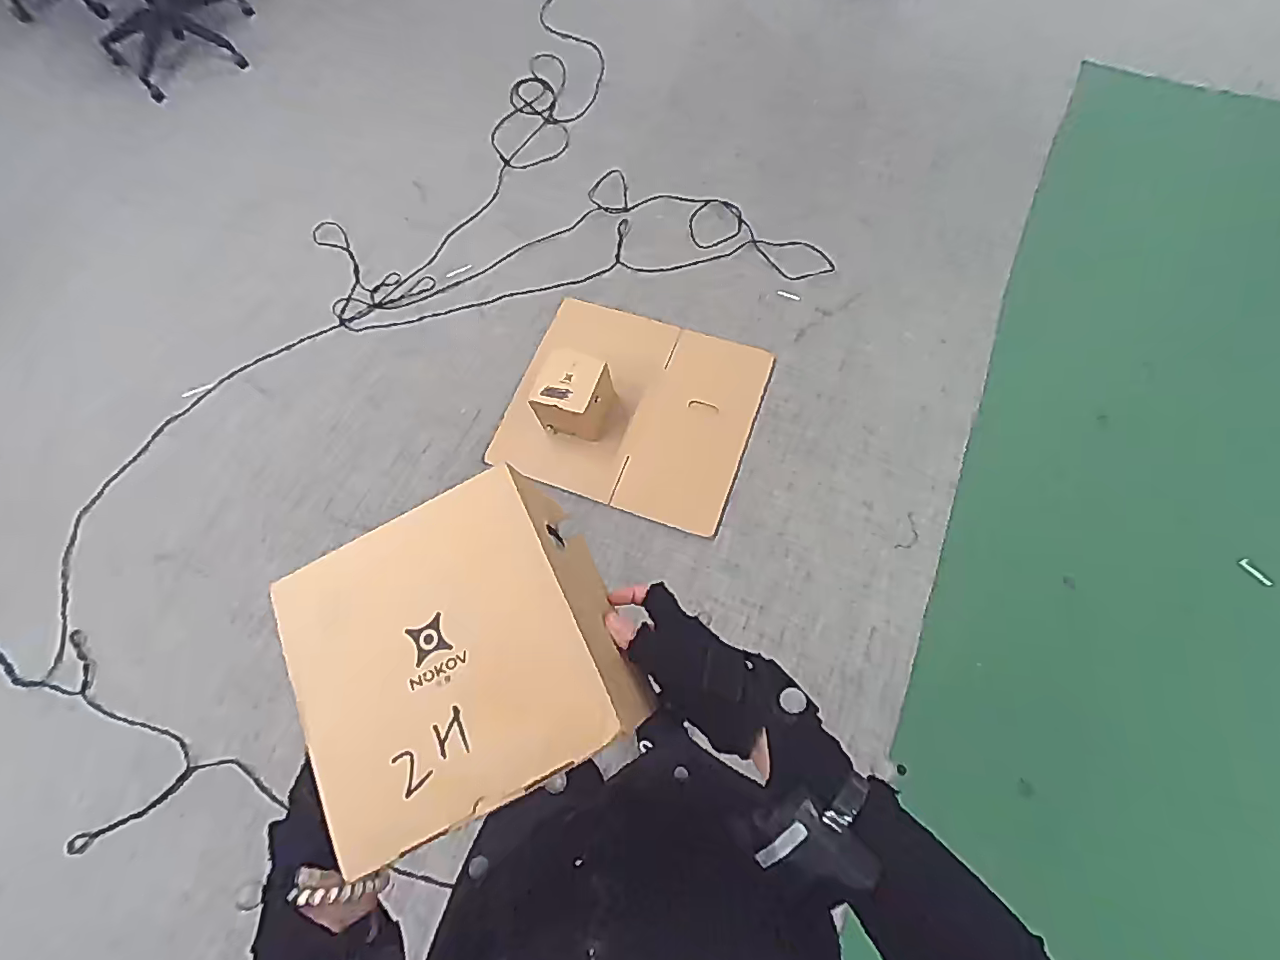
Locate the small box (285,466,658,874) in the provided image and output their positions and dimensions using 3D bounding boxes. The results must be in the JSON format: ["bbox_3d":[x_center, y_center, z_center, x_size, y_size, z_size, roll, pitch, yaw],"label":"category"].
[{"bbox_3d":[-0.100,0.121,0.384,0.168,0.176,0.179,-28,72,0],"label":"small box"}]

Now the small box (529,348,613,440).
[{"bbox_3d":[-0.183,-0.234,1.512,0.168,0.176,0.179,17,71,11],"label":"small box"}]
